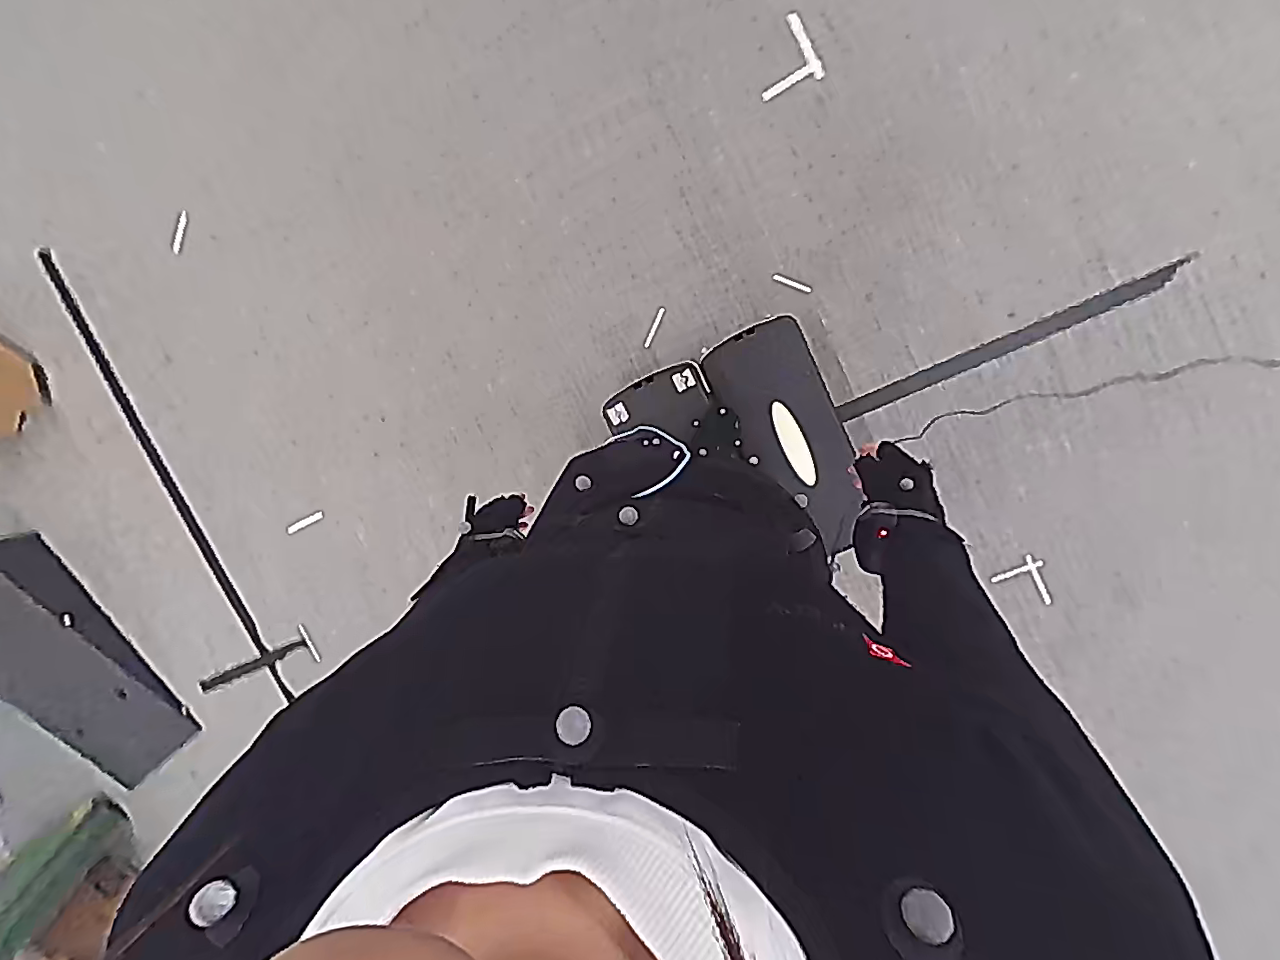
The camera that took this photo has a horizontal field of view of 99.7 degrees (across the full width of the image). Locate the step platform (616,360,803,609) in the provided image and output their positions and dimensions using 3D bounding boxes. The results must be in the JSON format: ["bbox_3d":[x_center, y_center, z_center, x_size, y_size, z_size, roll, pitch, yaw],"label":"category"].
[{"bbox_3d":[0.196,0.015,1.523,0.286,0.204,0.684,-26,93,12],"label":"step platform"}]
